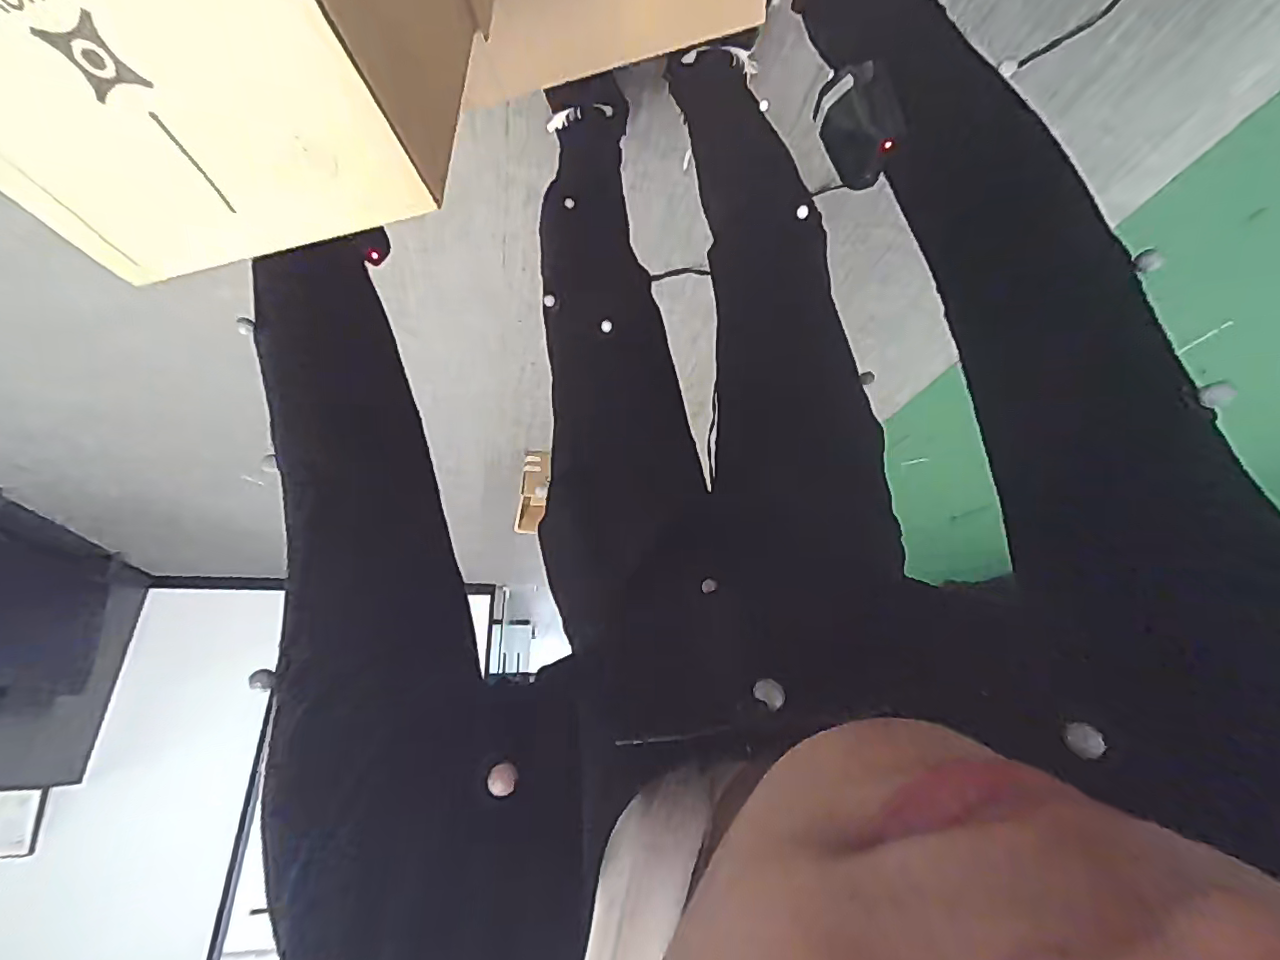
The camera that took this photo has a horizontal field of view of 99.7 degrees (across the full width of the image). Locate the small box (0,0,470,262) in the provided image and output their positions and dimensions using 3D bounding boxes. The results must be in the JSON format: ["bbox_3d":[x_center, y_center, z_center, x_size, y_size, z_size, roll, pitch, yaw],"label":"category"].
[{"bbox_3d":[-0.185,-0.227,0.215,0.168,0.176,0.179,-9,151,9],"label":"small box"}]
